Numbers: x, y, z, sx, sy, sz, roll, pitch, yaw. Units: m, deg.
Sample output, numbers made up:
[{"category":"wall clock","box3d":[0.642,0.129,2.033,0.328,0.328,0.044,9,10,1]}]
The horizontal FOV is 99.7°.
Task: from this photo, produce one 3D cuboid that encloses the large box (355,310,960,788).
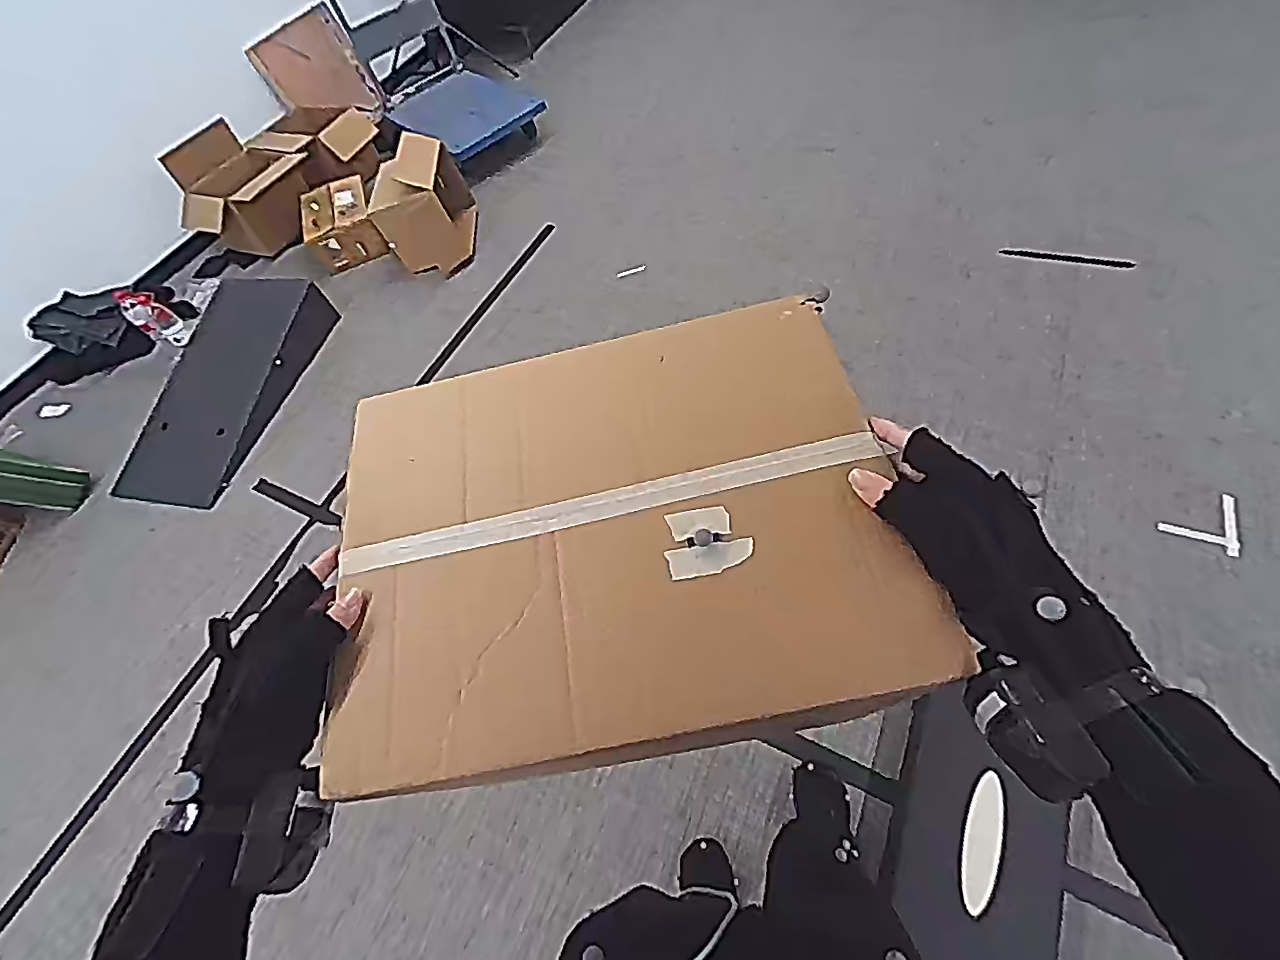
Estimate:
[{"category":"large box","box3d":[0.001,0.093,0.542,0.408,0.320,0.320,-12,62,2]}]
